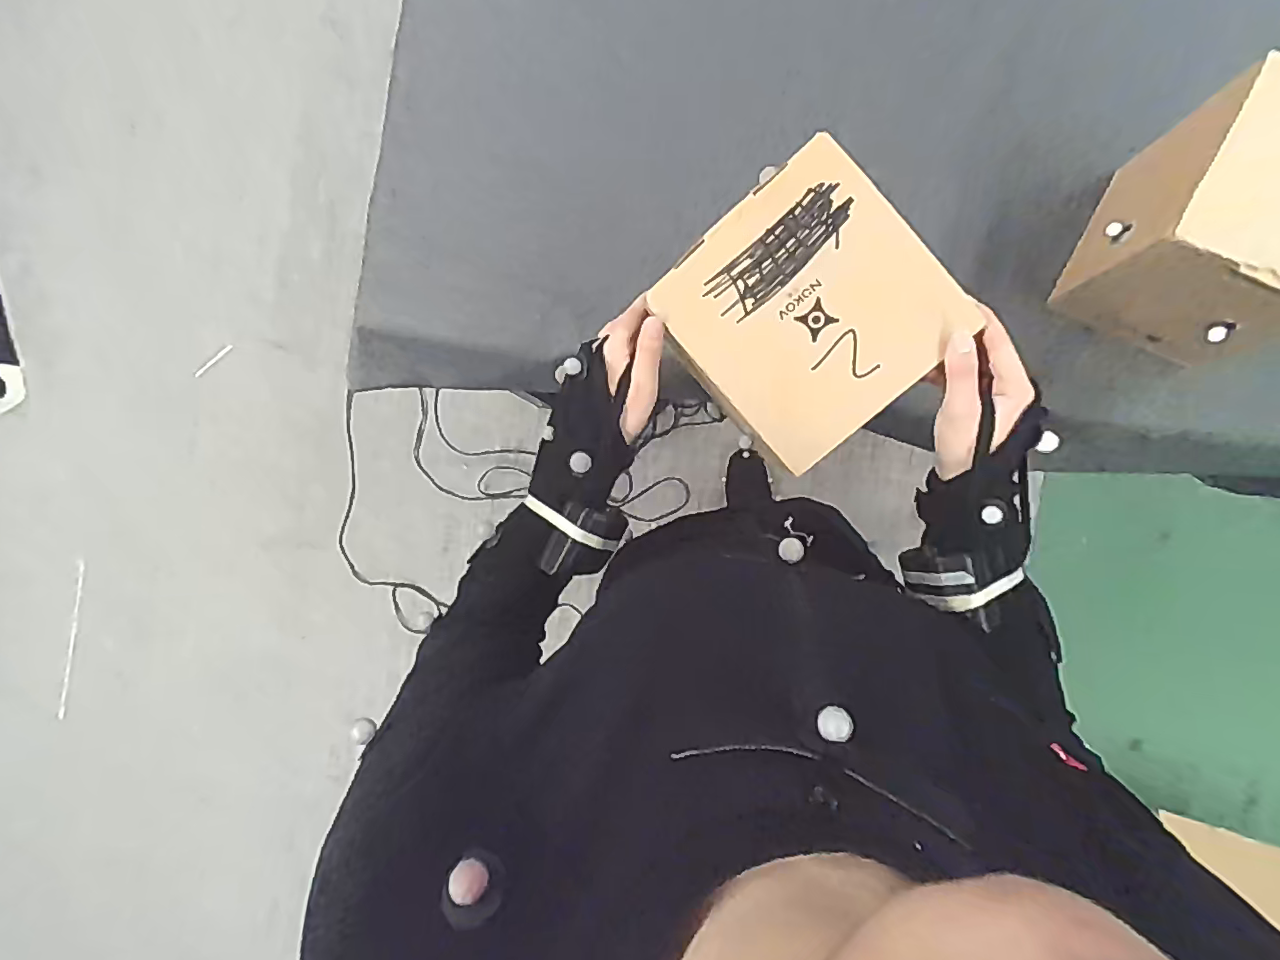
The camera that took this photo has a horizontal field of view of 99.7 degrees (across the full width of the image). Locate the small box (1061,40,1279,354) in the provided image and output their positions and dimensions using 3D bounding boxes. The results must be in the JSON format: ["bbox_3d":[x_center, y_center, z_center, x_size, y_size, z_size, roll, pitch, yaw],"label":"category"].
[{"bbox_3d":[0.557,-0.244,0.514,0.168,0.176,0.179,27,90,6],"label":"small box"}]
